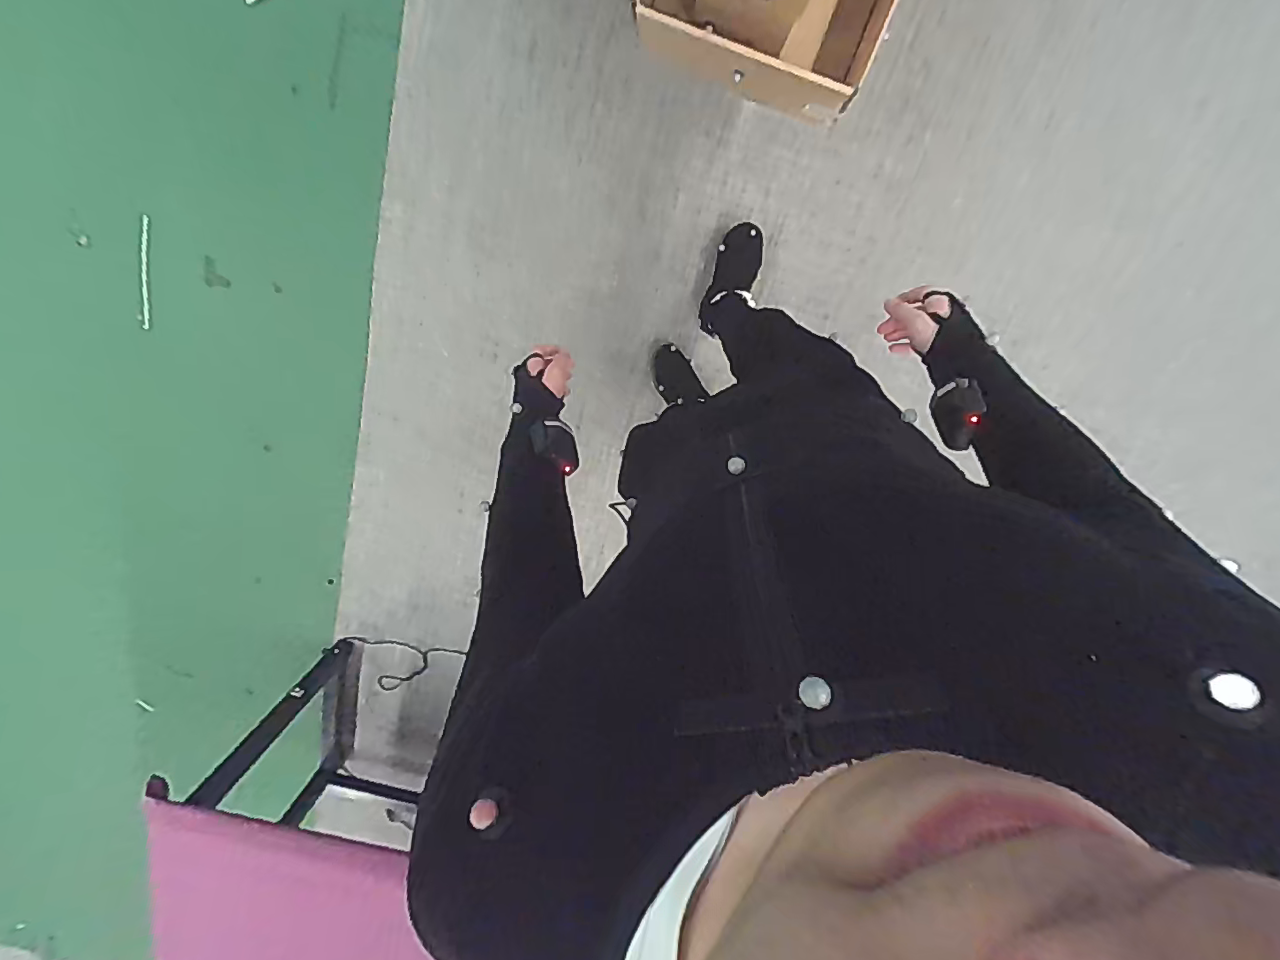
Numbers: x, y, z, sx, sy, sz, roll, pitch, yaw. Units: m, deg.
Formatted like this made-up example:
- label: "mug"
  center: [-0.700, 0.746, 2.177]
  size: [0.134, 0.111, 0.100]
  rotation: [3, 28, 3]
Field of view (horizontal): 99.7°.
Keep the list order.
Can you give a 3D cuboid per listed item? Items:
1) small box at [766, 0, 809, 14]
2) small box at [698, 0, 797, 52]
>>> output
- label: "small box"
  center: [0.193, -0.768, 0.704]
  size: [0.168, 0.176, 0.179]
  rotation: [22, 108, -5]
- label: "small box"
  center: [0.196, -0.830, 0.854]
  size: [0.168, 0.176, 0.179]
  rotation: [20, 108, -4]
